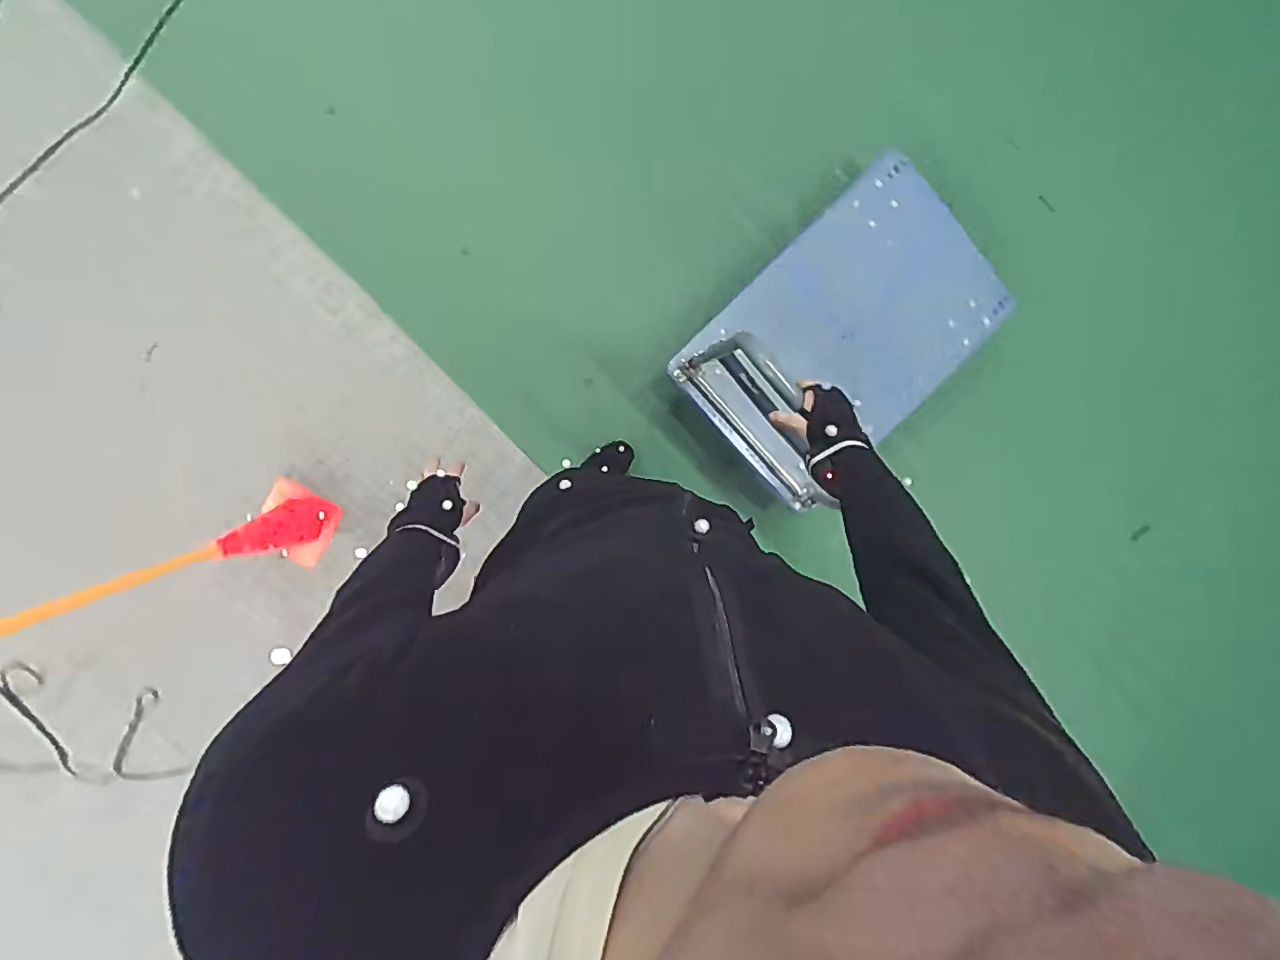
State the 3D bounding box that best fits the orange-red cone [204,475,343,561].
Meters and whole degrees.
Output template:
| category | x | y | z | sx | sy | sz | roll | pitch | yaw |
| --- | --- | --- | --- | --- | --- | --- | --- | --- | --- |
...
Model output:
| category | x | y | z | sx | sy | sz | roll | pitch | yaw |
| --- | --- | --- | --- | --- | --- | --- | --- | --- | --- |
| orange-red cone | -0.963 | 0.125 | 1.370 | 0.199 | 0.360 | 0.198 | 31 | 92 | -6 |
